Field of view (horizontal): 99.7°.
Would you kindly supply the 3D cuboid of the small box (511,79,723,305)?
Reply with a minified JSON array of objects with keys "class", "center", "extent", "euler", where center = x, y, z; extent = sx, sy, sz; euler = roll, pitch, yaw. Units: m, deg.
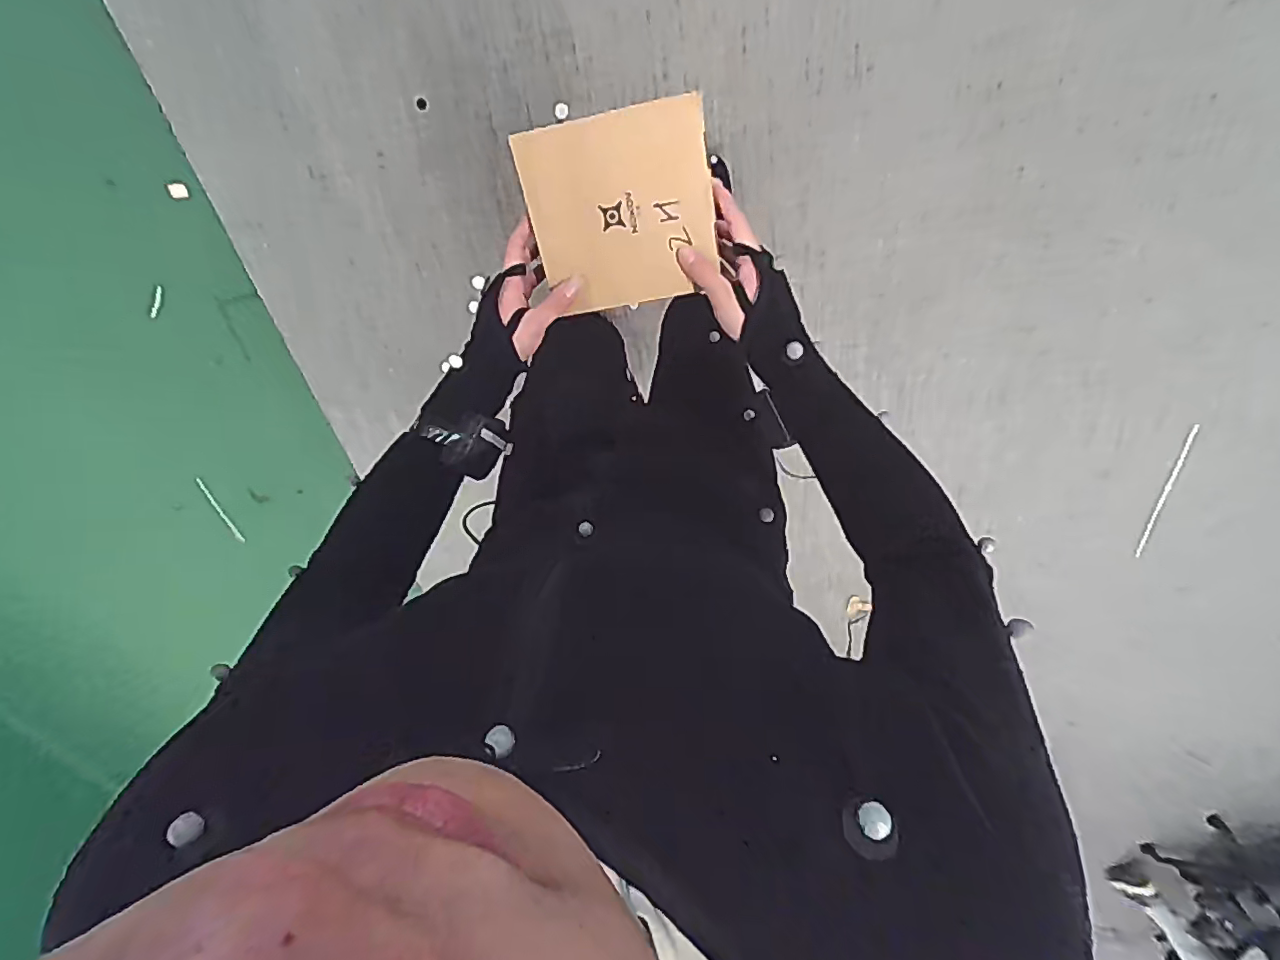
[{"class":"small box","center":[-0.011,-0.299,0.571],"extent":[0.179,0.176,0.168],"euler":[-8,122,8]}]

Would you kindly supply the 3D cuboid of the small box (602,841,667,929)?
[{"class":"small box","center":[-0.012,1.214,1.628],"extent":[0.179,0.176,0.168],"euler":[2,127,5]}]
